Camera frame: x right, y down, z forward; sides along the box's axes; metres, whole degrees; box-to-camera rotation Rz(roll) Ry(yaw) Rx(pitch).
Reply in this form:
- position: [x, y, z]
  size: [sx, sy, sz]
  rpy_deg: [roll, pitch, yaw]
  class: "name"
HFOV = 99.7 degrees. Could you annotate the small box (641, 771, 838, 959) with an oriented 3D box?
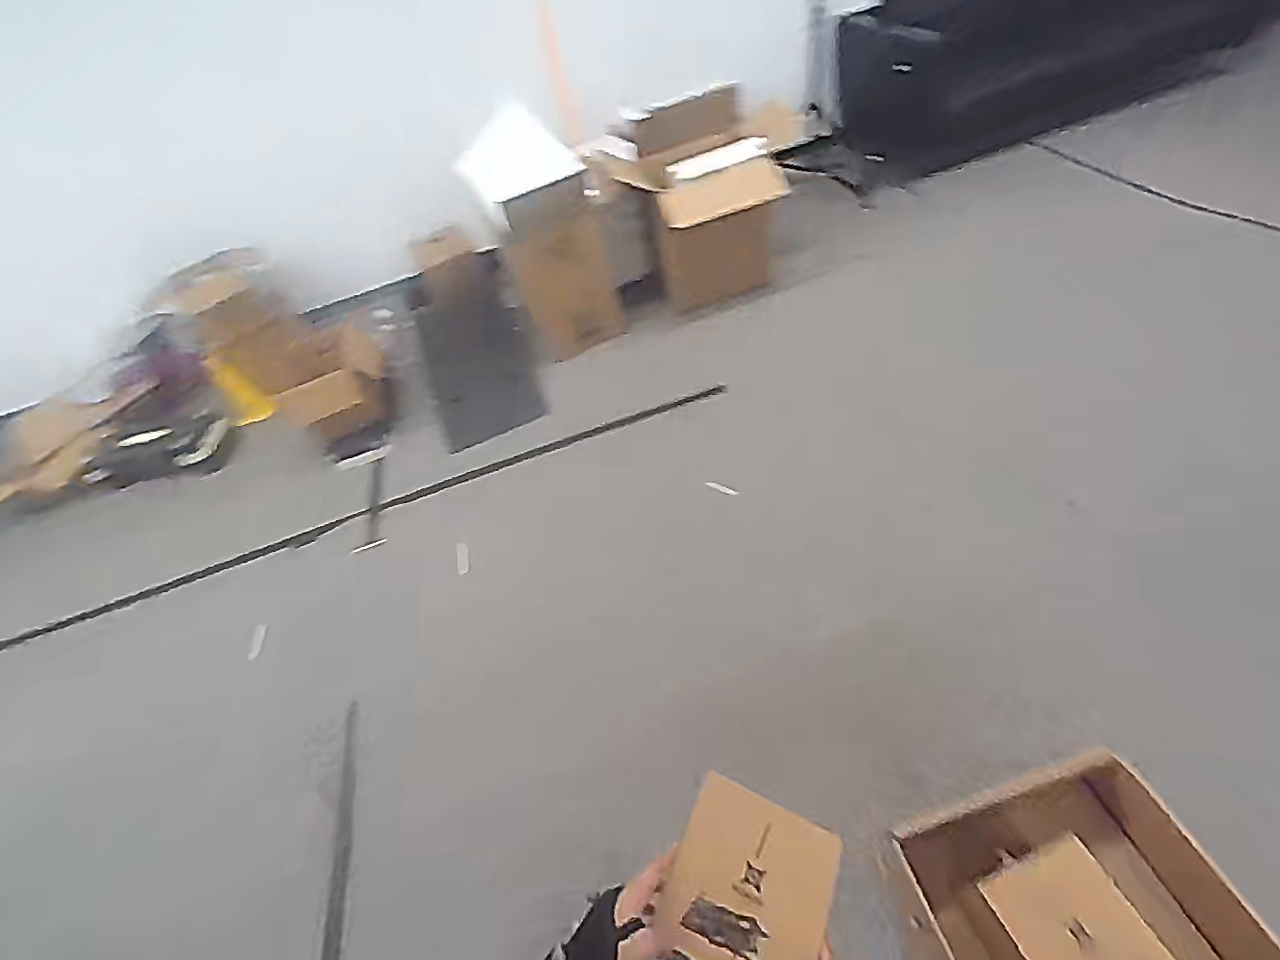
- position: [0.111, 0.488, 0.635]
  size: [0.168, 0.176, 0.179]
  rpy_deg: [21, 50, 17]
  class: "small box"
